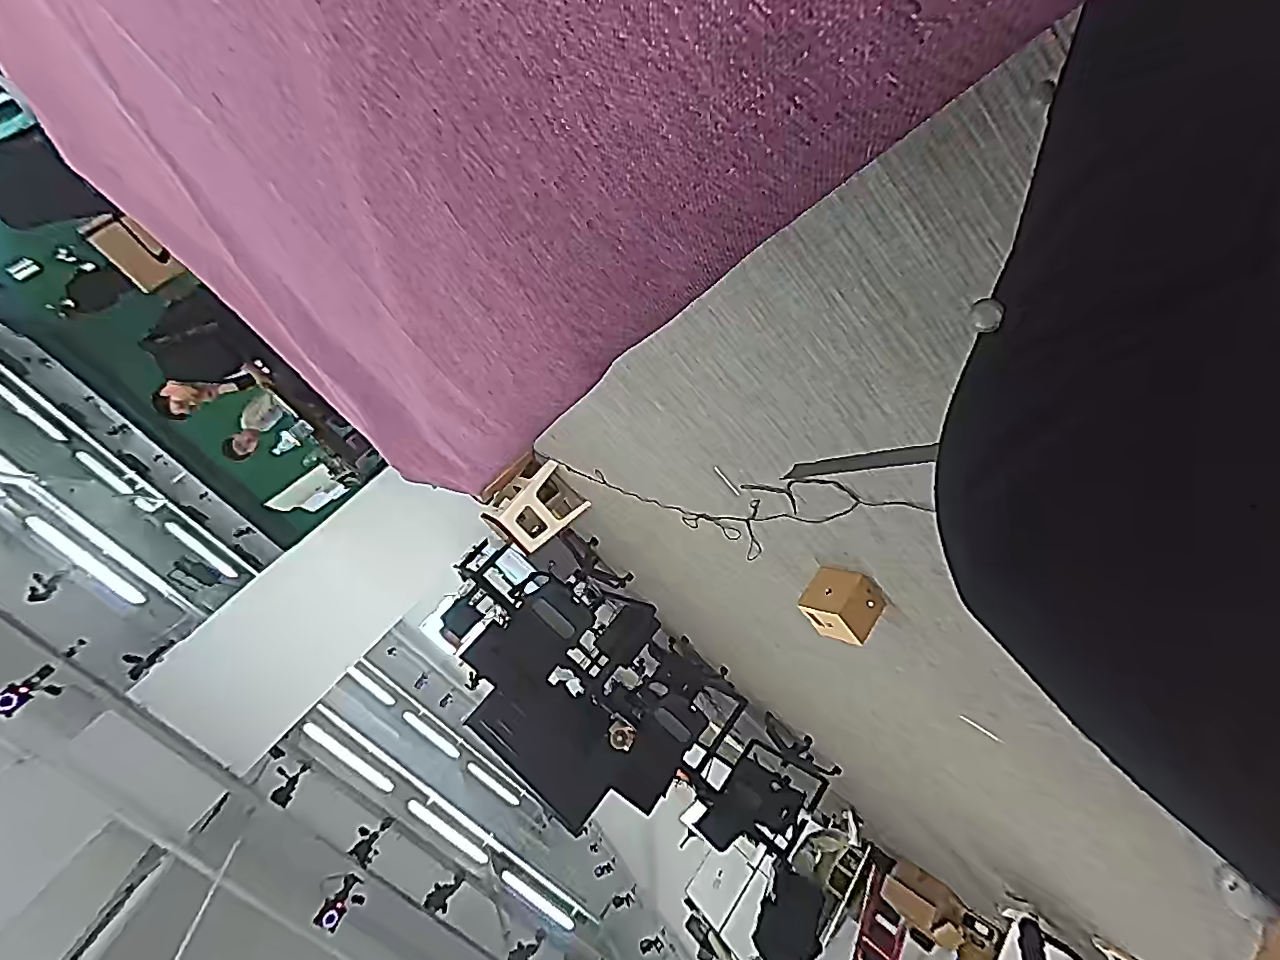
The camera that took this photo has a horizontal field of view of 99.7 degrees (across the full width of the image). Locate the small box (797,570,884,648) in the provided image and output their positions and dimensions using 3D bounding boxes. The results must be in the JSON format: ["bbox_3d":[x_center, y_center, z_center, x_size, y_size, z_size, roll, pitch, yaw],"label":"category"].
[{"bbox_3d":[0.660,0.415,1.775,0.168,0.176,0.179,49,157,-20],"label":"small box"}]
